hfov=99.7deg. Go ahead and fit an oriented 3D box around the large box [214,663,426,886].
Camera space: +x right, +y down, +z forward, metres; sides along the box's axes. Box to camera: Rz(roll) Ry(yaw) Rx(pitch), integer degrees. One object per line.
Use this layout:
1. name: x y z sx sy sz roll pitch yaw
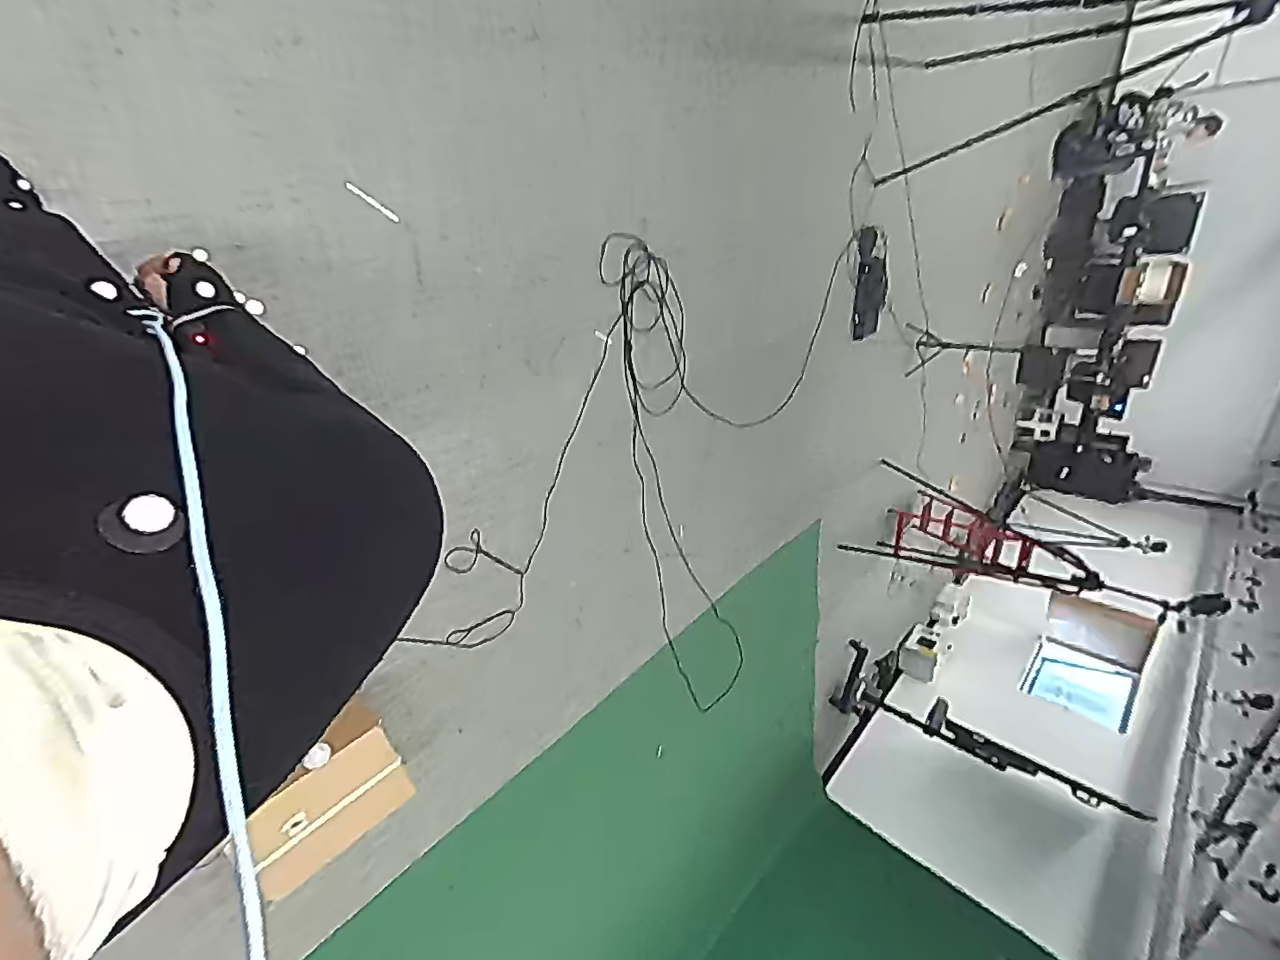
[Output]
1. large box: -0.918 0.825 1.573 0.408 0.320 0.320 -31 124 -33
